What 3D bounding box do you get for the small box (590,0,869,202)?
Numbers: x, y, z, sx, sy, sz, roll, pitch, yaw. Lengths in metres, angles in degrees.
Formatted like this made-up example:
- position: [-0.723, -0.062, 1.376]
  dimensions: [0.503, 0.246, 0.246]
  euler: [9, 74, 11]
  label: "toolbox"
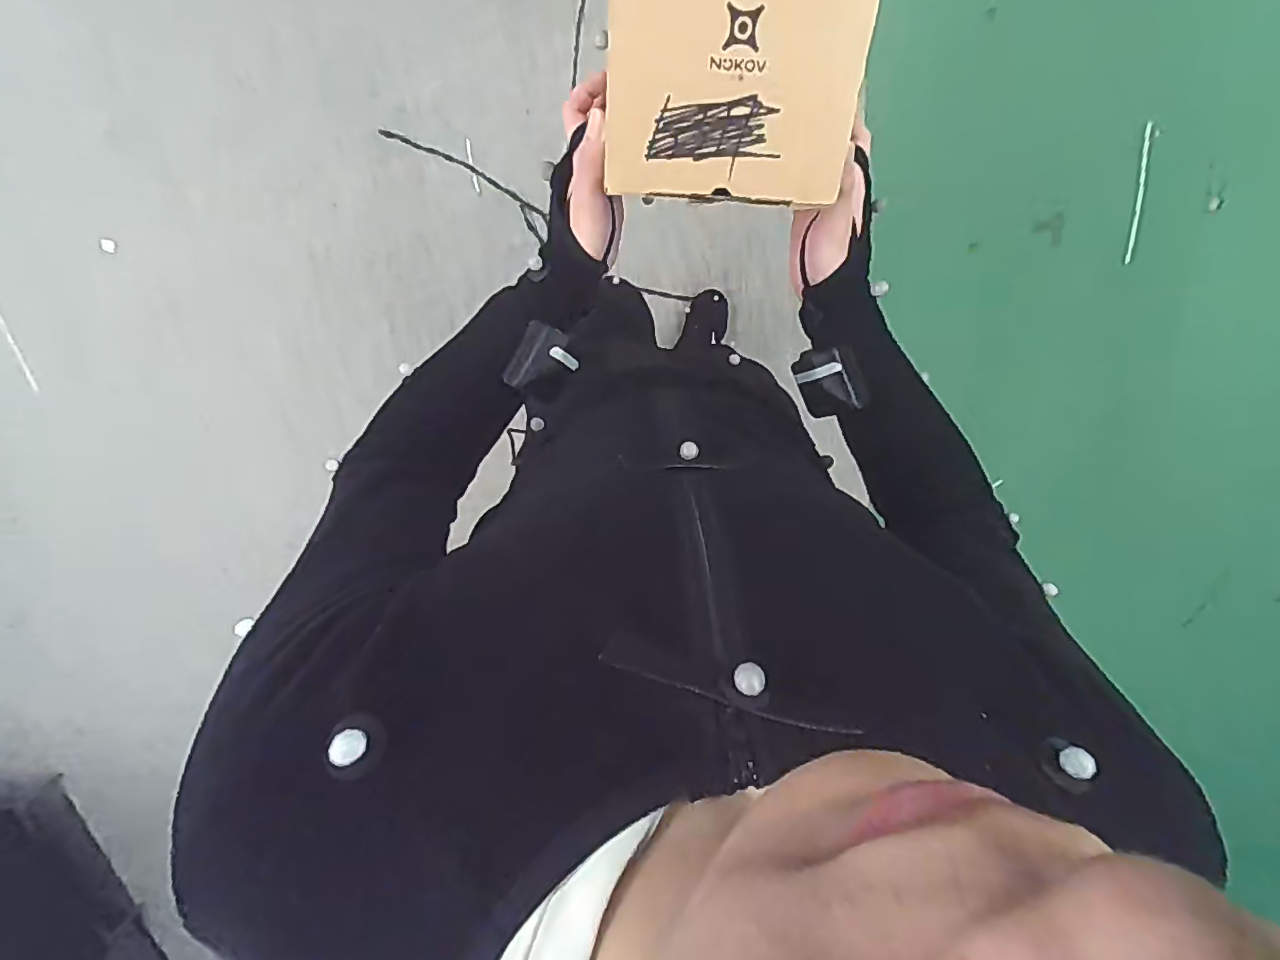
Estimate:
- position: [0.054, -0.313, 0.397]
  dimensions: [0.168, 0.176, 0.179]
  euler: [3, 120, -1]
  label: "small box"
